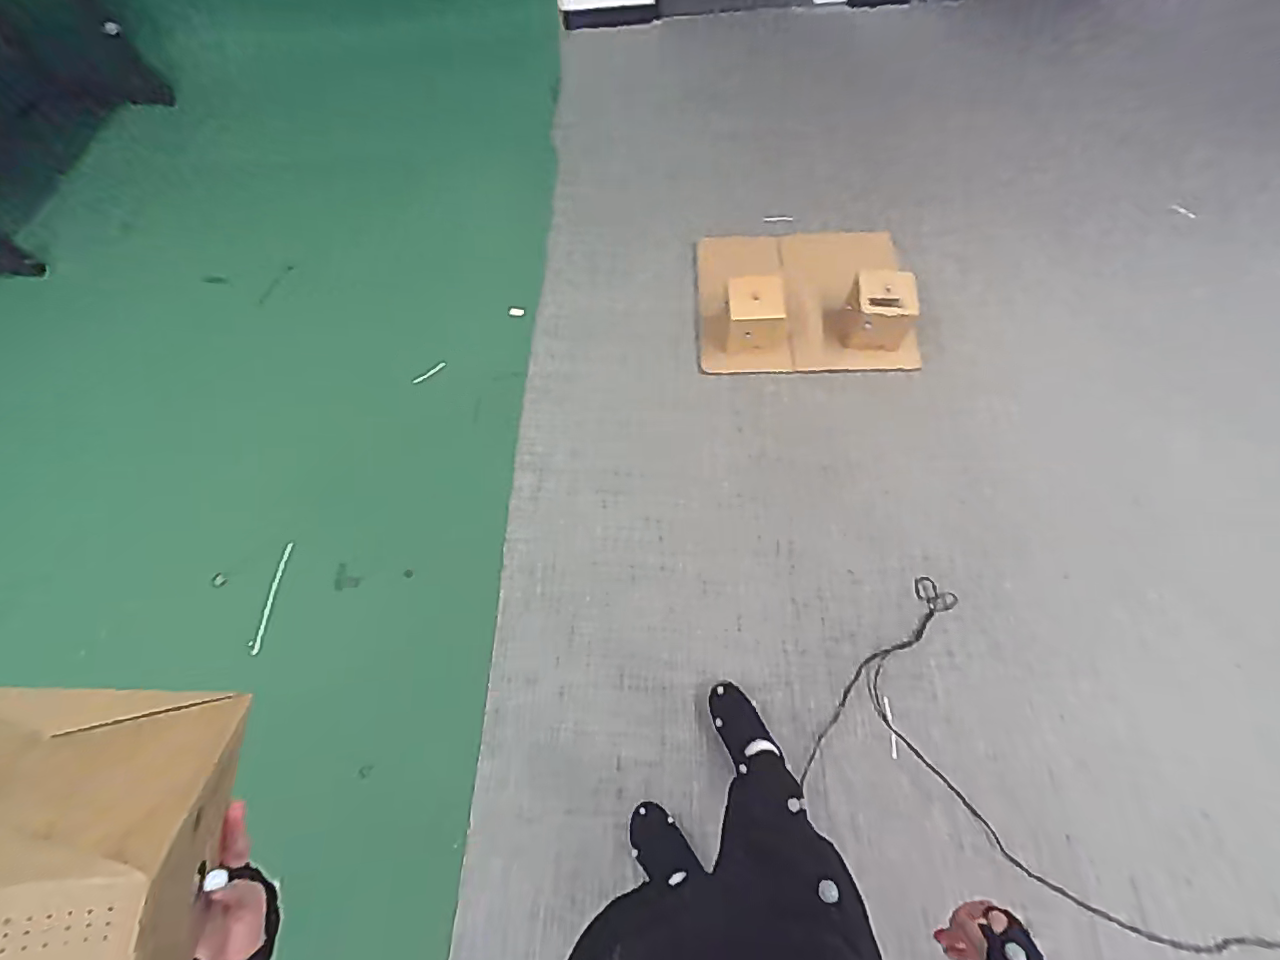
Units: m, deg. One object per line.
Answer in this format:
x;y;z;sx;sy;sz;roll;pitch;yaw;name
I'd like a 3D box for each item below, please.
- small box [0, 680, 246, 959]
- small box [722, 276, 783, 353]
-0.328;0.216;0.276;0.179;0.168;0.176;12;93;-24;small box
0.354;-0.521;1.725;0.168;0.176;0.179;-2;64;3;small box
